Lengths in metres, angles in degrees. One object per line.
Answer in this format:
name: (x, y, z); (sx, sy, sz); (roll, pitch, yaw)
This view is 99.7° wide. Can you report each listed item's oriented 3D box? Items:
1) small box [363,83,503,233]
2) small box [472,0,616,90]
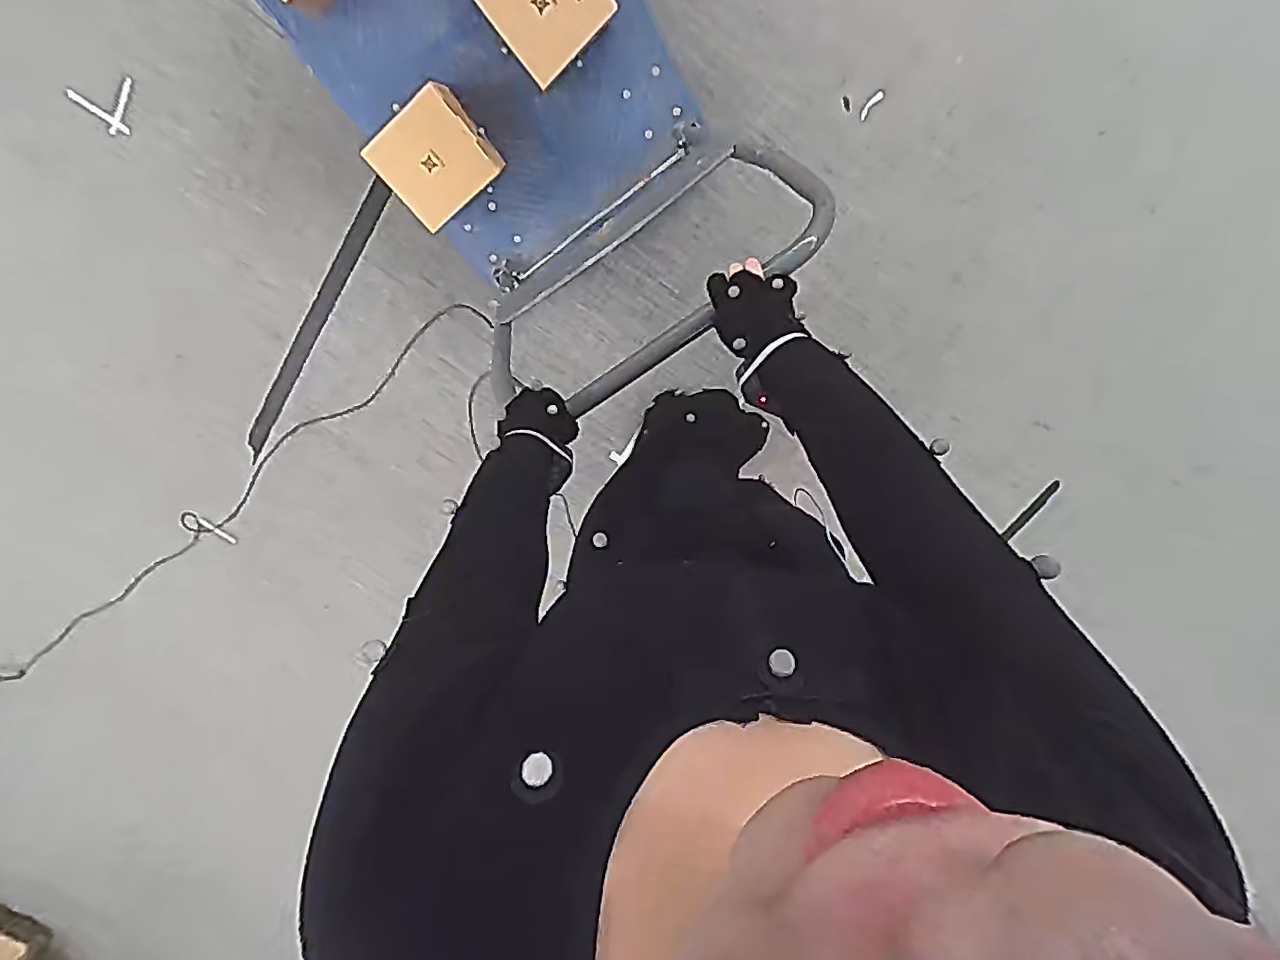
small box: (-0.378, -0.604, 1.025); (0.179, 0.176, 0.168); (-36, 121, 13)
small box: (-0.161, -0.805, 0.923); (0.179, 0.176, 0.168); (-38, 121, 16)
